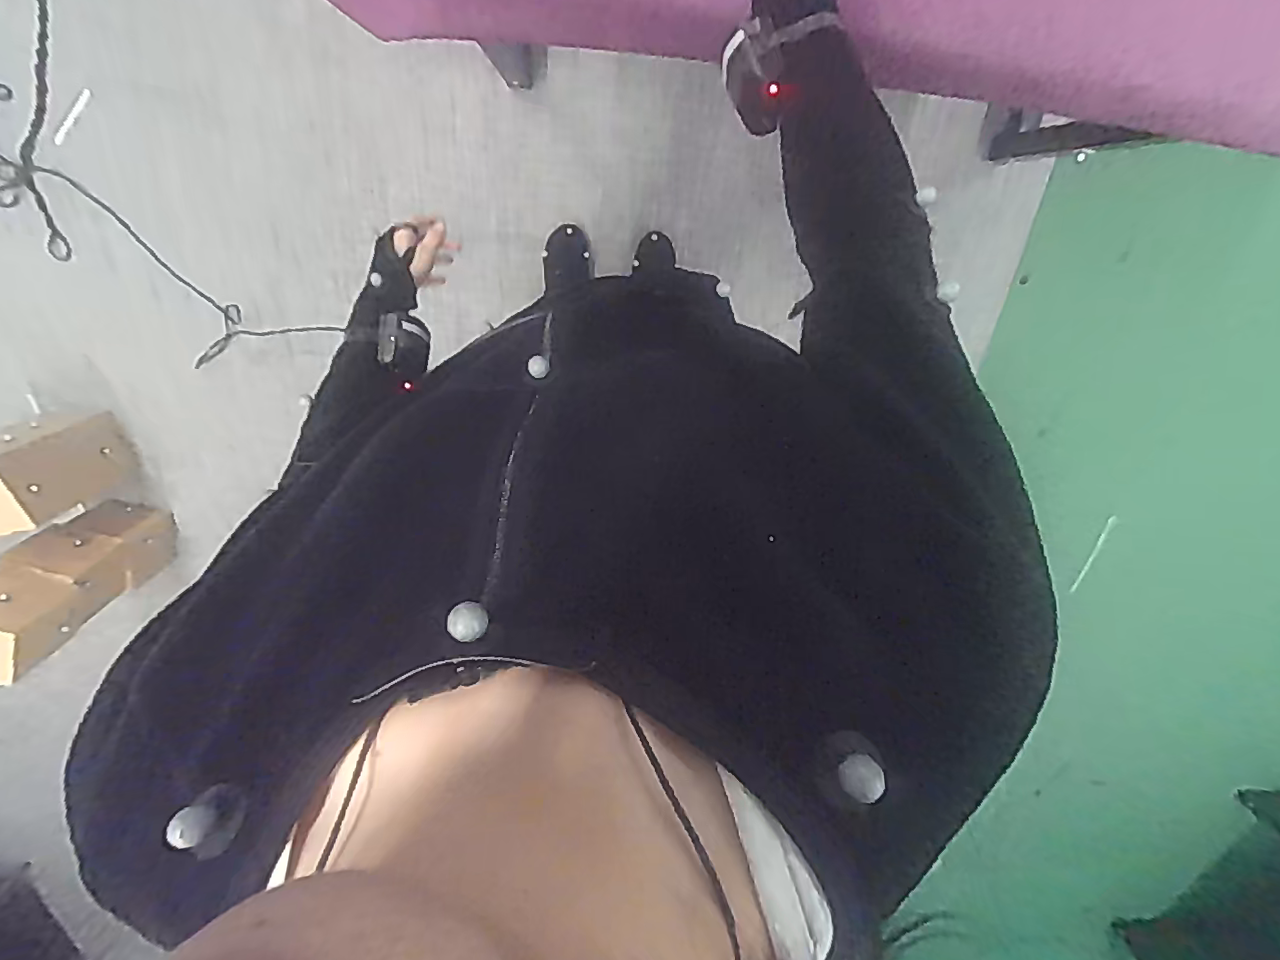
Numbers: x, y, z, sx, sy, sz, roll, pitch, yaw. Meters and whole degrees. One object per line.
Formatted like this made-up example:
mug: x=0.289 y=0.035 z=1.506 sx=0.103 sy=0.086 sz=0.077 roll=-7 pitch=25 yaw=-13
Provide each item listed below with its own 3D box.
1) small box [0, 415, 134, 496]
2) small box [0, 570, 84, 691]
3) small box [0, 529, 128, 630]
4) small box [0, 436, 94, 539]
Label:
small box: x=-1.447 y=-0.060 z=1.369 sx=0.179 sy=0.176 sz=0.168 roll=-4 pitch=116 yaw=-2
small box: x=-1.411 y=0.326 z=1.198 sx=0.179 sy=0.176 sz=0.168 roll=23 pitch=111 yaw=-15
small box: x=-1.430 y=0.253 z=1.344 sx=0.168 sy=0.176 sz=0.179 roll=19 pitch=112 yaw=-12
small box: x=-1.423 y=0.018 z=1.228 sx=0.168 sy=0.176 sz=0.179 roll=-8 pitch=116 yaw=-2
